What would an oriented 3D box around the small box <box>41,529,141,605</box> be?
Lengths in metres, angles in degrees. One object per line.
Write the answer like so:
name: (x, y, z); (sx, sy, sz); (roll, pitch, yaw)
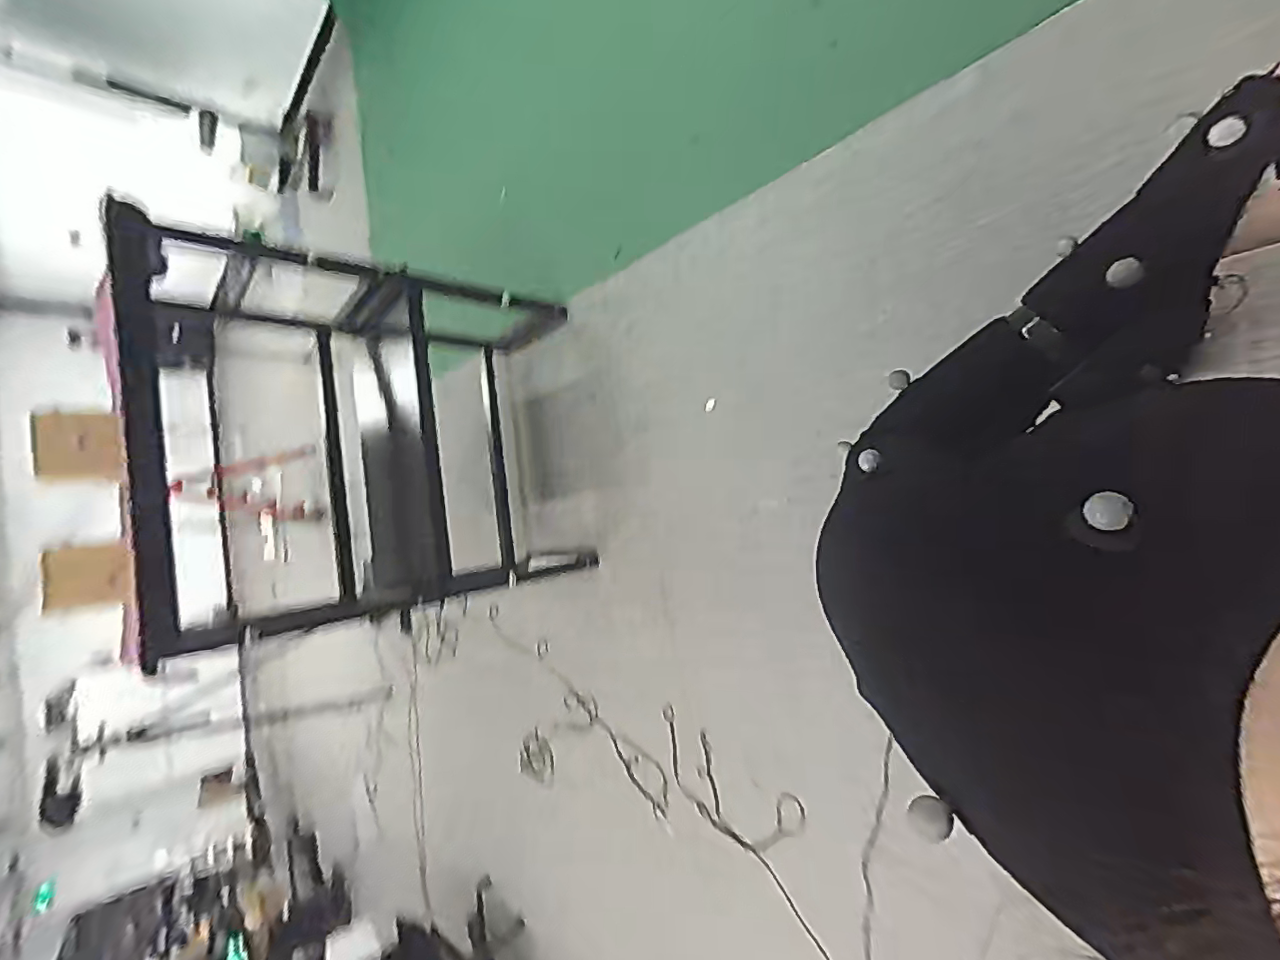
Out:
small box: (-1.372, 0.218, 1.358); (0.179, 0.176, 0.168); (-15, 82, 45)
